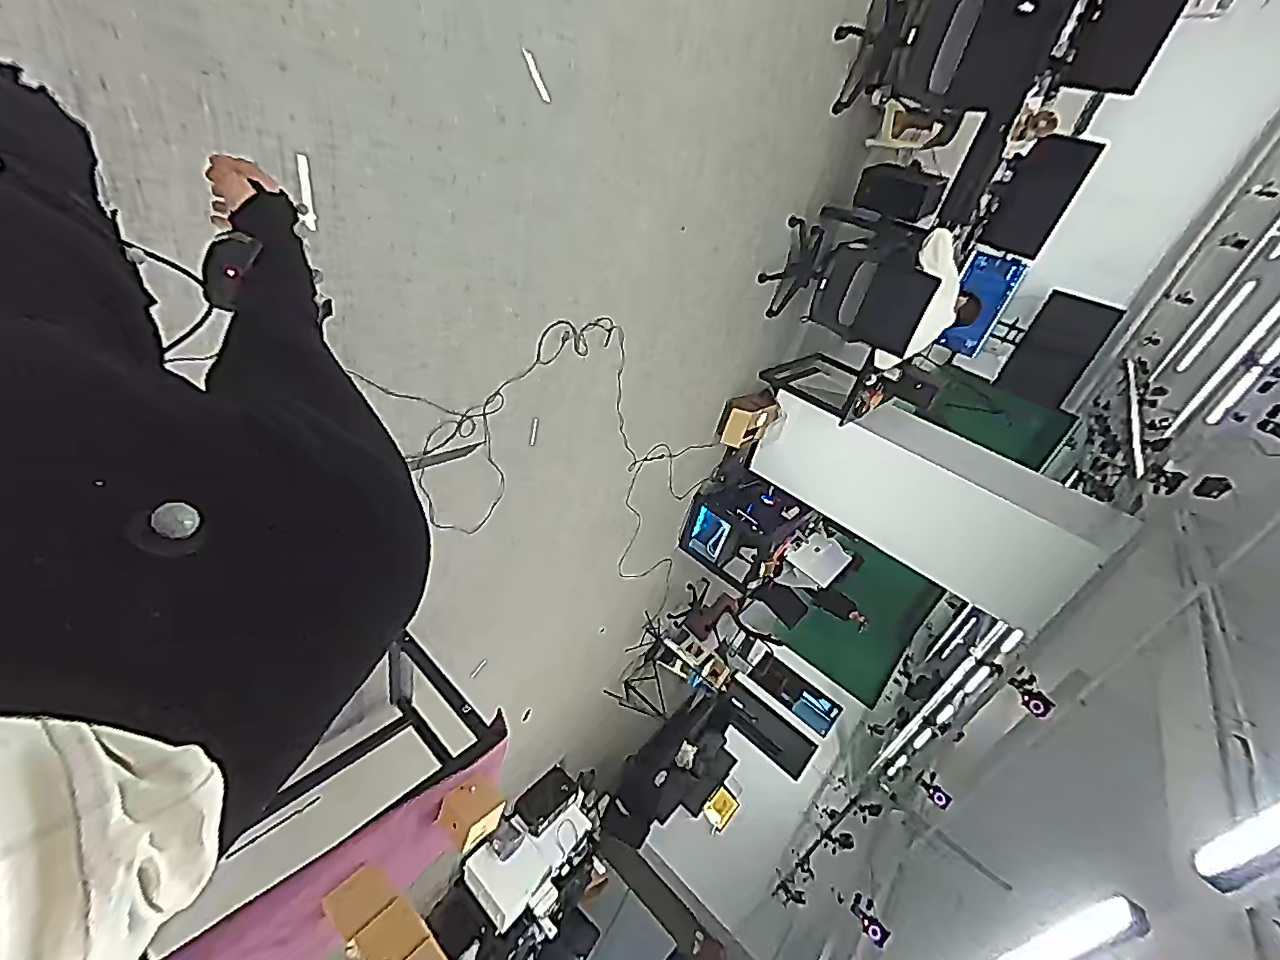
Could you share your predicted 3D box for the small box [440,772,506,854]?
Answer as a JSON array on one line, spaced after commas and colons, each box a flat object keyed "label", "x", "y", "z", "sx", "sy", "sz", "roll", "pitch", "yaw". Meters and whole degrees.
[{"label": "small box", "x": -0.652, "y": 1.284, "z": 2.098, "sx": 0.168, "sy": 0.176, "sz": 0.179, "roll": -14, "pitch": 132, "yaw": -52}]

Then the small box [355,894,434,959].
[{"label": "small box", "x": -0.794, "y": 1.502, "z": 1.754, "sx": 0.179, "sy": 0.176, "sz": 0.168, "roll": -26, "pitch": 142, "yaw": -43}]

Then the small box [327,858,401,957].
[{"label": "small box", "x": -0.928, "y": 1.433, "z": 1.819, "sx": 0.179, "sy": 0.176, "sz": 0.168, "roll": -26, "pitch": 142, "yaw": -43}]
